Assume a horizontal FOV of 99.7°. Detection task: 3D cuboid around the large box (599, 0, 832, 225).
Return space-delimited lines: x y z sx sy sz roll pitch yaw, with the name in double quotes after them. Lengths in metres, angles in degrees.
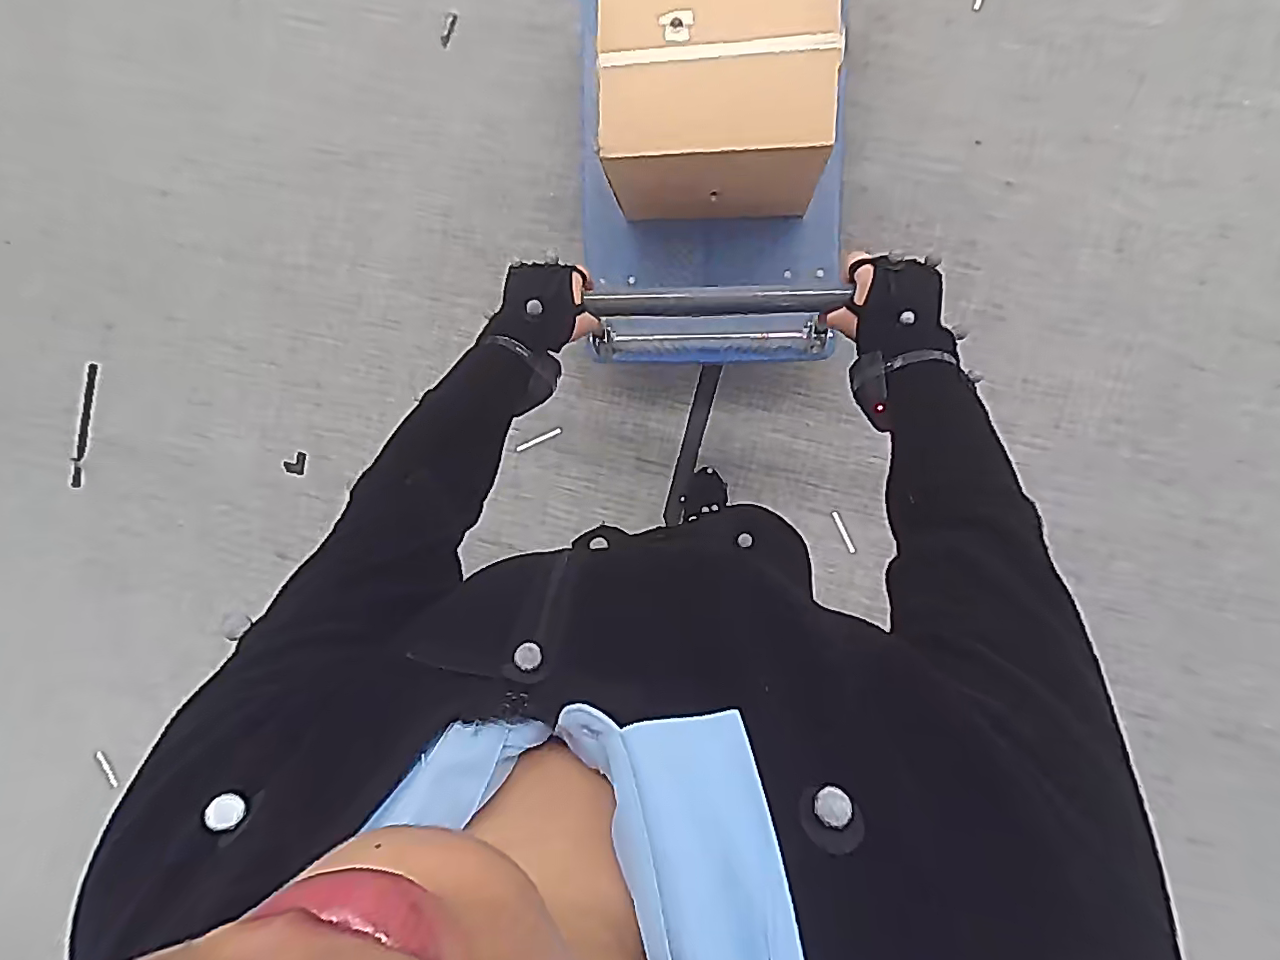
0.148 -0.731 1.082 0.408 0.320 0.320 1 95 8 "large box"
